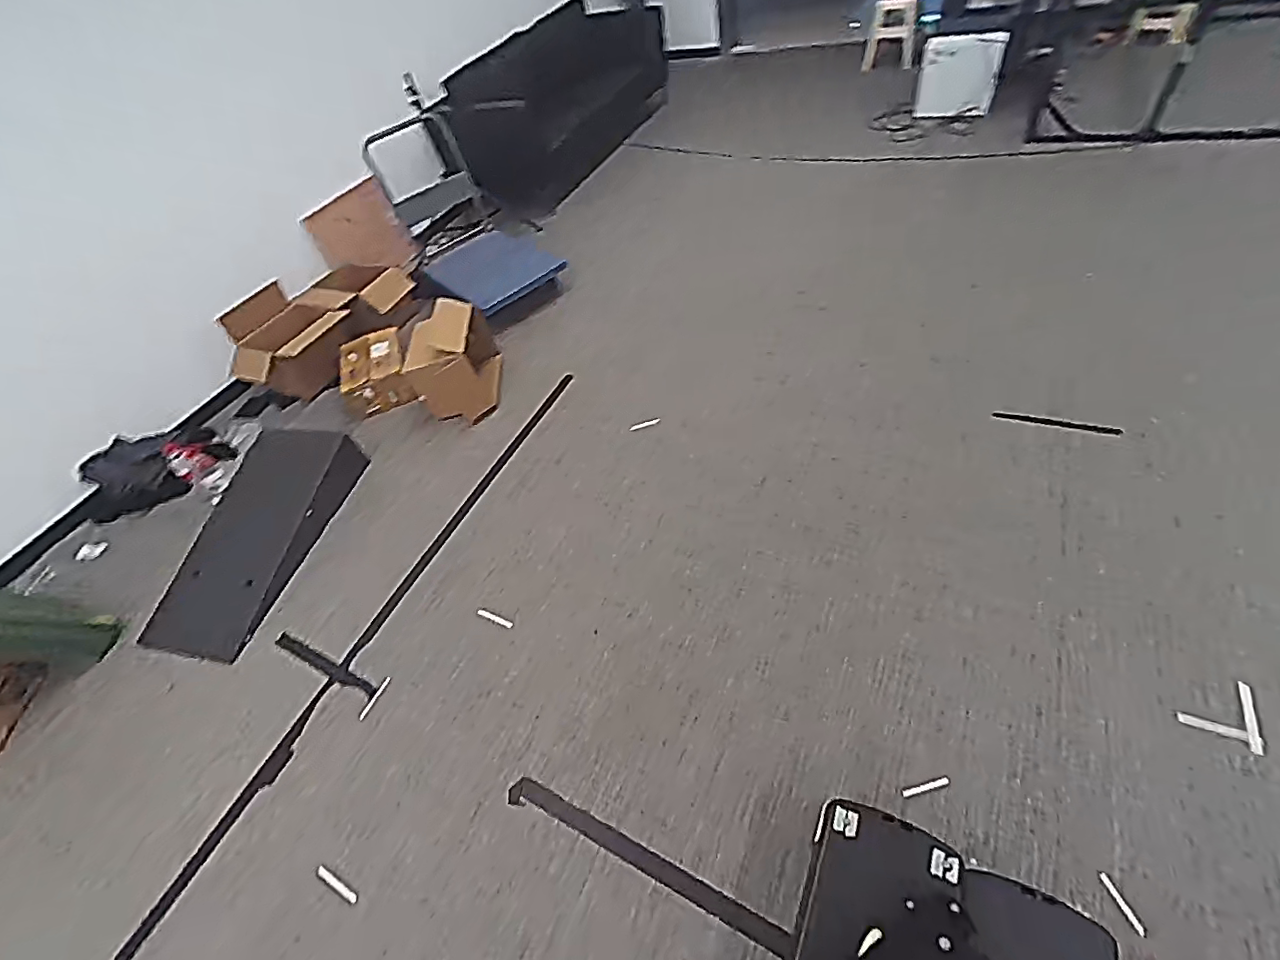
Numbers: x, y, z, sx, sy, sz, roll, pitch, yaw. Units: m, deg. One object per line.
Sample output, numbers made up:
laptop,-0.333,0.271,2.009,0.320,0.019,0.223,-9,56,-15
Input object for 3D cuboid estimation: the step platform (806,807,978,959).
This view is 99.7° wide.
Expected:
step platform,0.456,1.041,1.051,0.286,0.204,0.684,14,55,23
